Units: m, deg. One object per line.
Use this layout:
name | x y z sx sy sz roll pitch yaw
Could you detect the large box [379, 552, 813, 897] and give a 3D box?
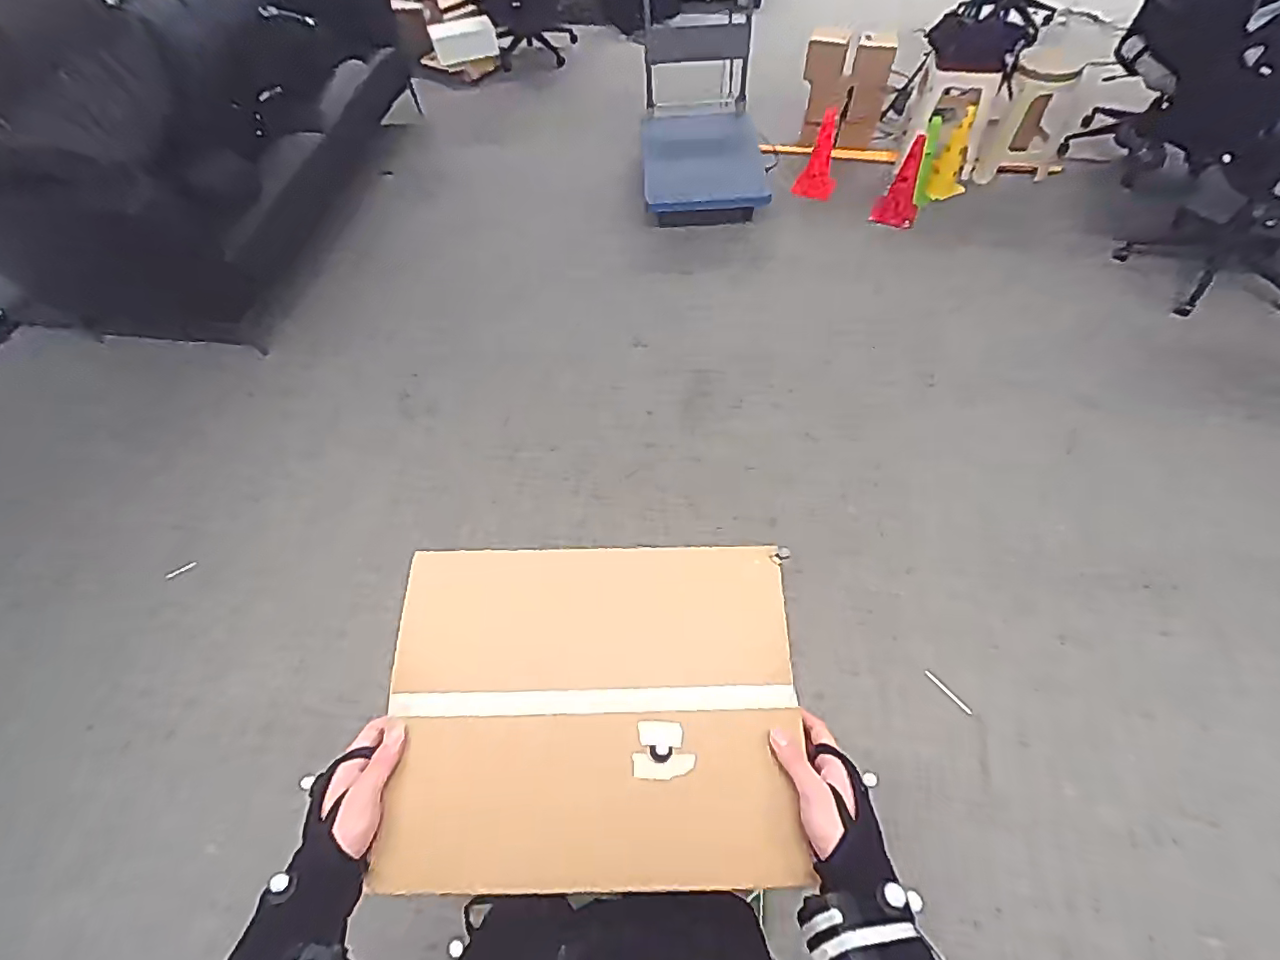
large box | -0.046 0.290 0.684 0.408 0.320 0.320 -1 66 -1
